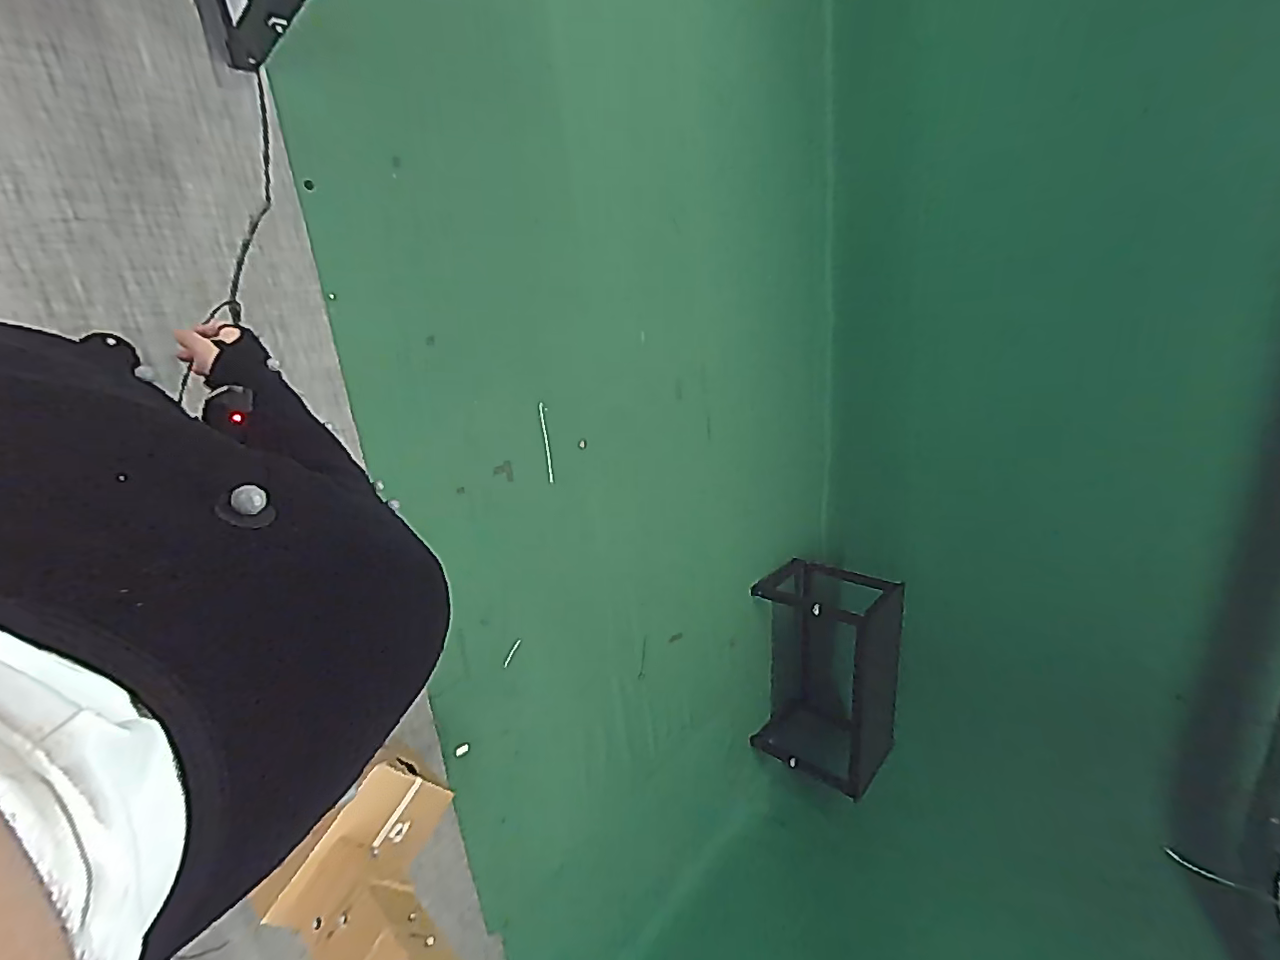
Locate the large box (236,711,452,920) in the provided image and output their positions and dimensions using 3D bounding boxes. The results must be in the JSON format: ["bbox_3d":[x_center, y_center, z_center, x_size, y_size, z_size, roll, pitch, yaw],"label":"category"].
[{"bbox_3d":[-0.843,0.961,1.557,0.408,0.320,0.320,-57,135,-24],"label":"large box"}]

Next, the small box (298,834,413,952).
[{"bbox_3d":[-0.713,1.030,1.345,0.179,0.176,0.168,-57,134,-23],"label":"small box"}]

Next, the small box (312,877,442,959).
[{"bbox_3d":[-0.598,1.049,1.231,0.168,0.176,0.179,-56,132,-25],"label":"small box"}]

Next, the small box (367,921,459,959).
[{"bbox_3d":[-0.482,1.069,1.118,0.179,0.176,0.168,-58,134,-25],"label":"small box"}]
